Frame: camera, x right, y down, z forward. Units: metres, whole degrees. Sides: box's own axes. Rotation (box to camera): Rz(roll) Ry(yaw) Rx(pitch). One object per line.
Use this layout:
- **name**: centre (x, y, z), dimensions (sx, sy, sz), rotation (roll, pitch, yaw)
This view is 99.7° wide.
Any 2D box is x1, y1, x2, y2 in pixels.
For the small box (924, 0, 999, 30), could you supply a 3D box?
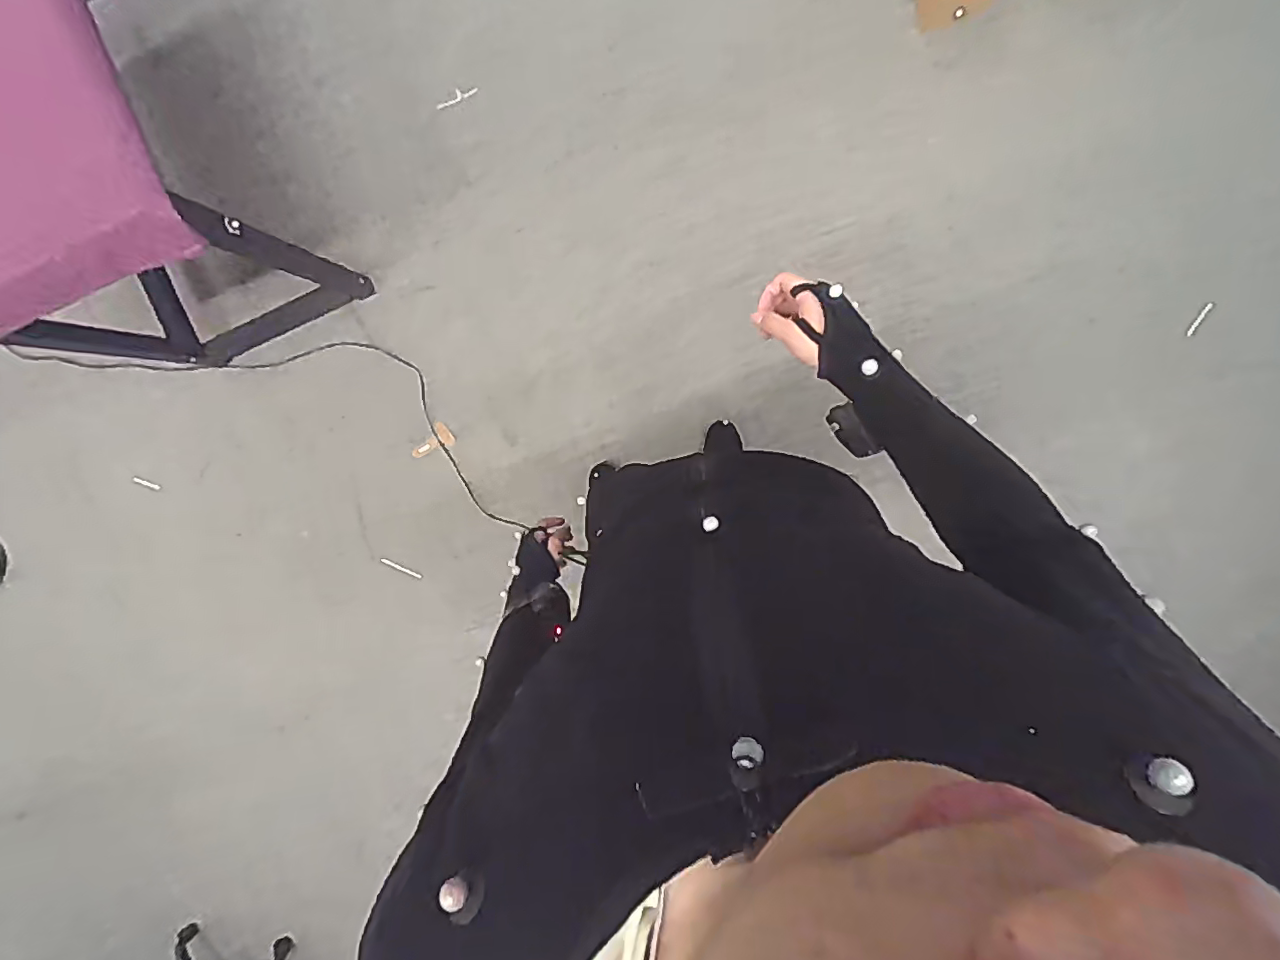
- **small box**: centre (0.807, -1.267, 1.319), dimensions (0.168, 0.176, 0.179), rotation (-17, 96, 7)
